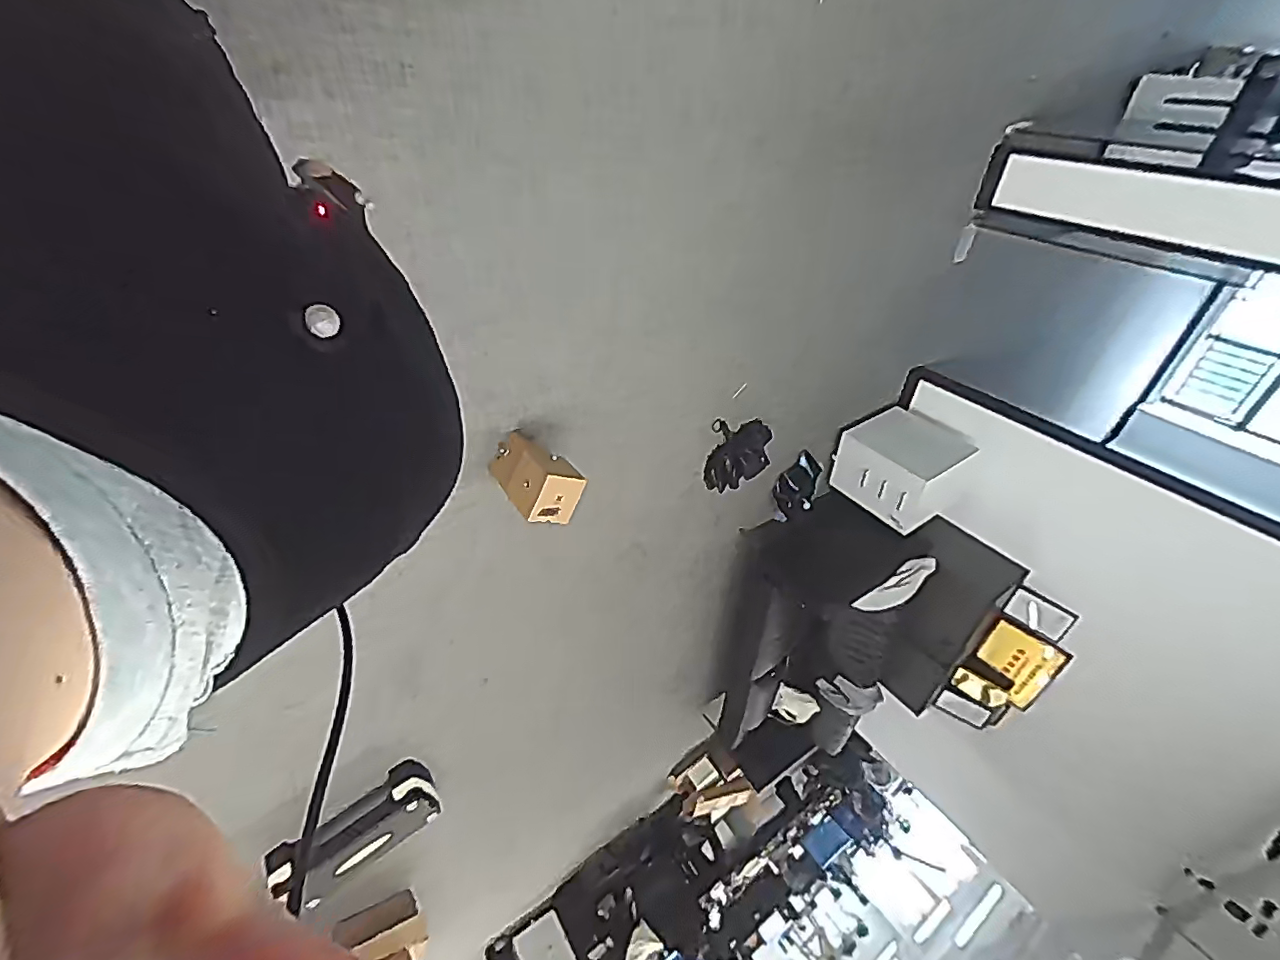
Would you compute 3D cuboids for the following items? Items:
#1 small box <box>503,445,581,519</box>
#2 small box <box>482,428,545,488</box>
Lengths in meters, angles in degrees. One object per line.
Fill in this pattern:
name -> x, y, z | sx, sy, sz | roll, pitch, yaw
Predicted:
small box -> -0.332, 0.007, 1.790 | 0.168, 0.176, 0.179 | 9, 114, -47
small box -> -0.424, -0.060, 1.912 | 0.168, 0.176, 0.179 | -54, 140, 7
